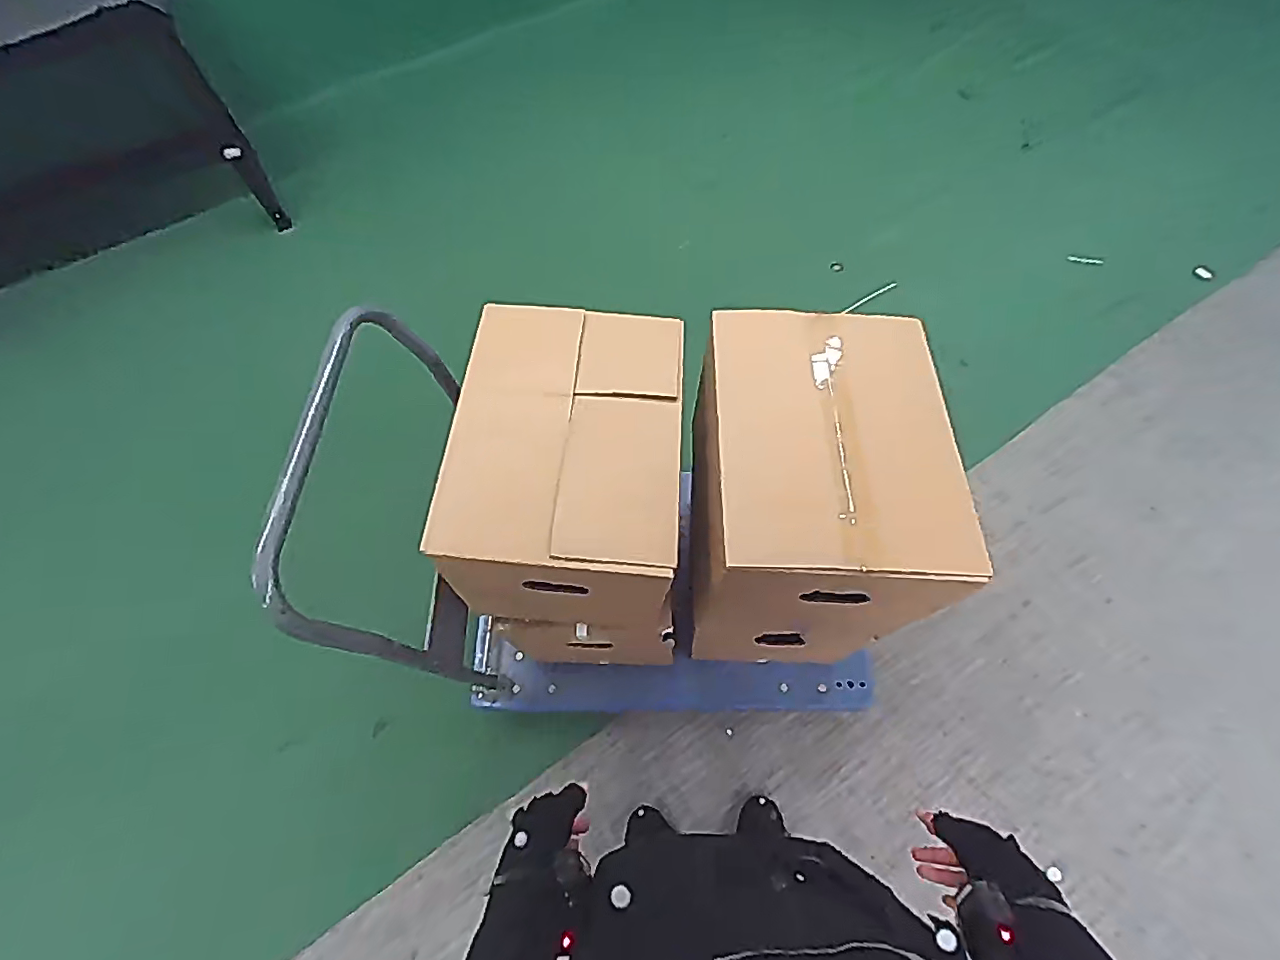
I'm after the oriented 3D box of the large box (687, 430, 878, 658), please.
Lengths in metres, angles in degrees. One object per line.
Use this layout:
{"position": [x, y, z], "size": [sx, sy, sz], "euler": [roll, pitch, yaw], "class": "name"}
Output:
{"position": [0.261, 0.144, 1.137], "size": [0.320, 0.320, 0.408], "euler": [-1, 64, 5], "class": "large box"}
